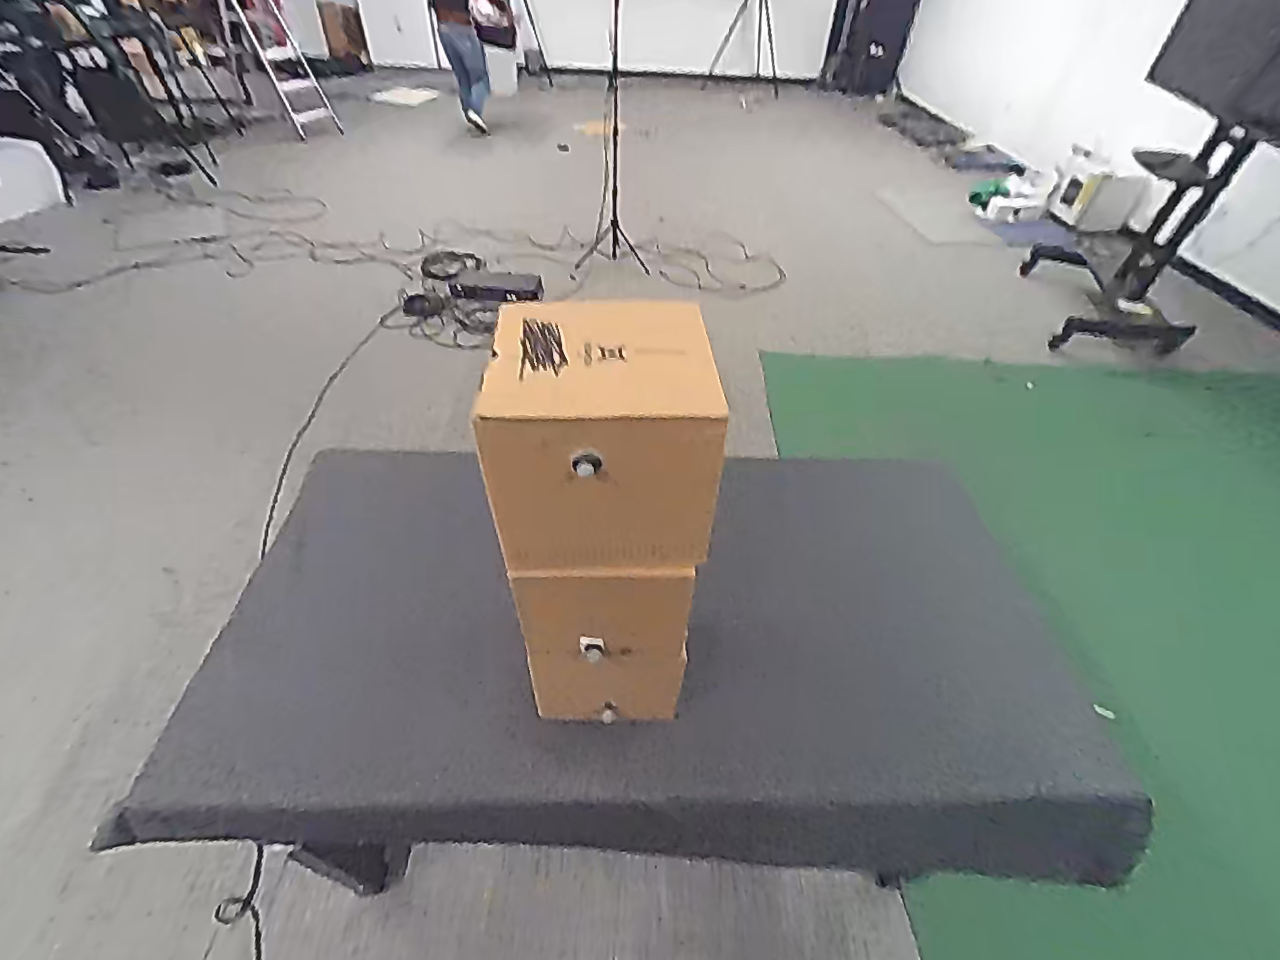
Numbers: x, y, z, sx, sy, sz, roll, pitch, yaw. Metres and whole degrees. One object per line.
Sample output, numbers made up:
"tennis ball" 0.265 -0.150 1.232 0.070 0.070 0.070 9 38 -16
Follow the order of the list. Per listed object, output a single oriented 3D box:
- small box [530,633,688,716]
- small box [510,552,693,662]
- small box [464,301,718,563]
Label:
"small box" -0.037 0.192 0.705 0.179 0.176 0.168 1 45 -1
"small box" -0.034 0.078 0.589 0.168 0.176 0.179 0 46 0
"small box" -0.034 -0.040 0.475 0.179 0.176 0.168 -1 45 -2
